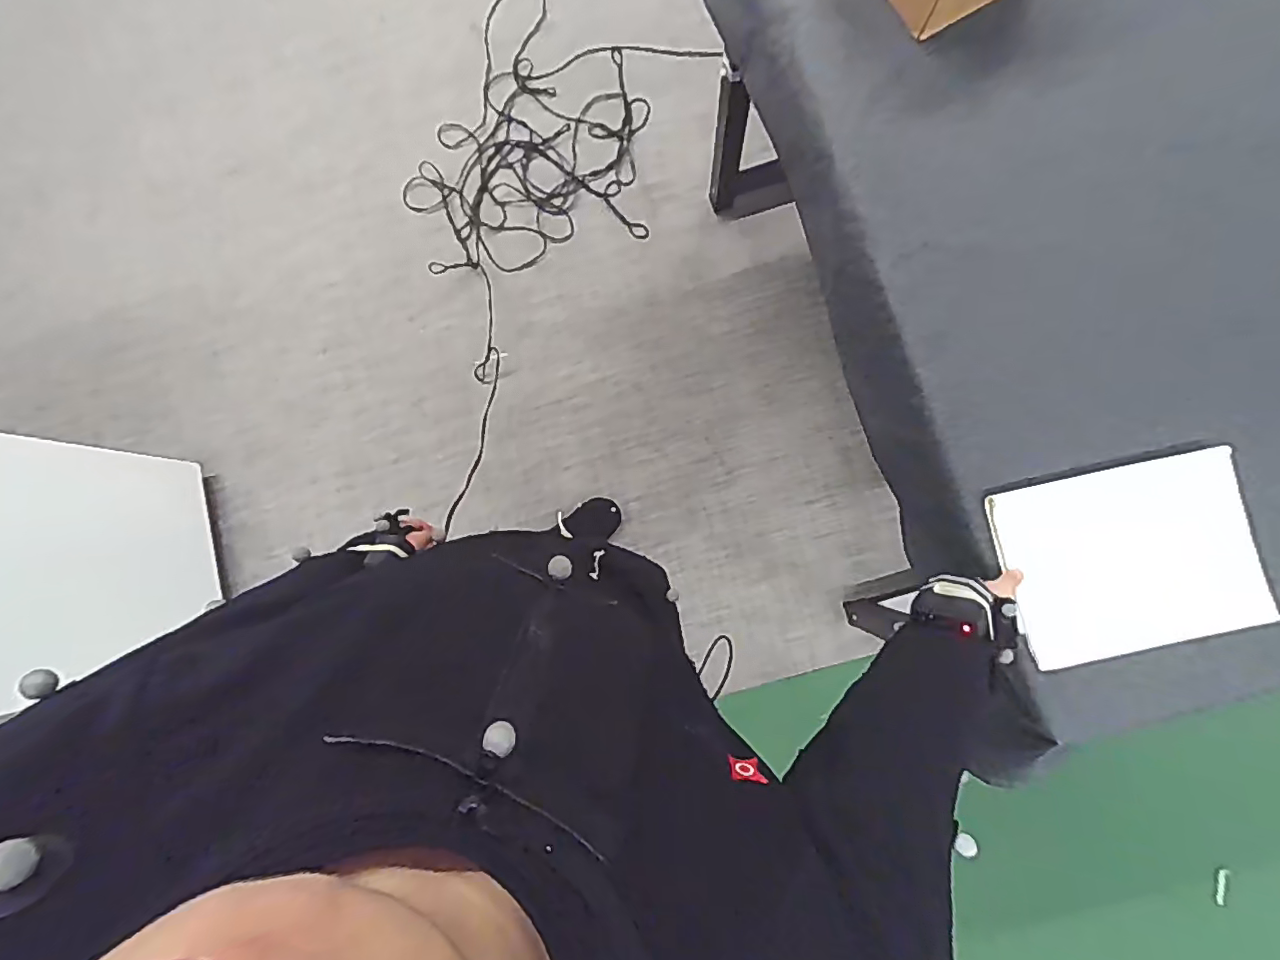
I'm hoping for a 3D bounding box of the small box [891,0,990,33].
[{"bbox_3d":[0.379,-0.684,0.621,0.168,0.176,0.179,-30,84,-1],"label":"small box"}]
